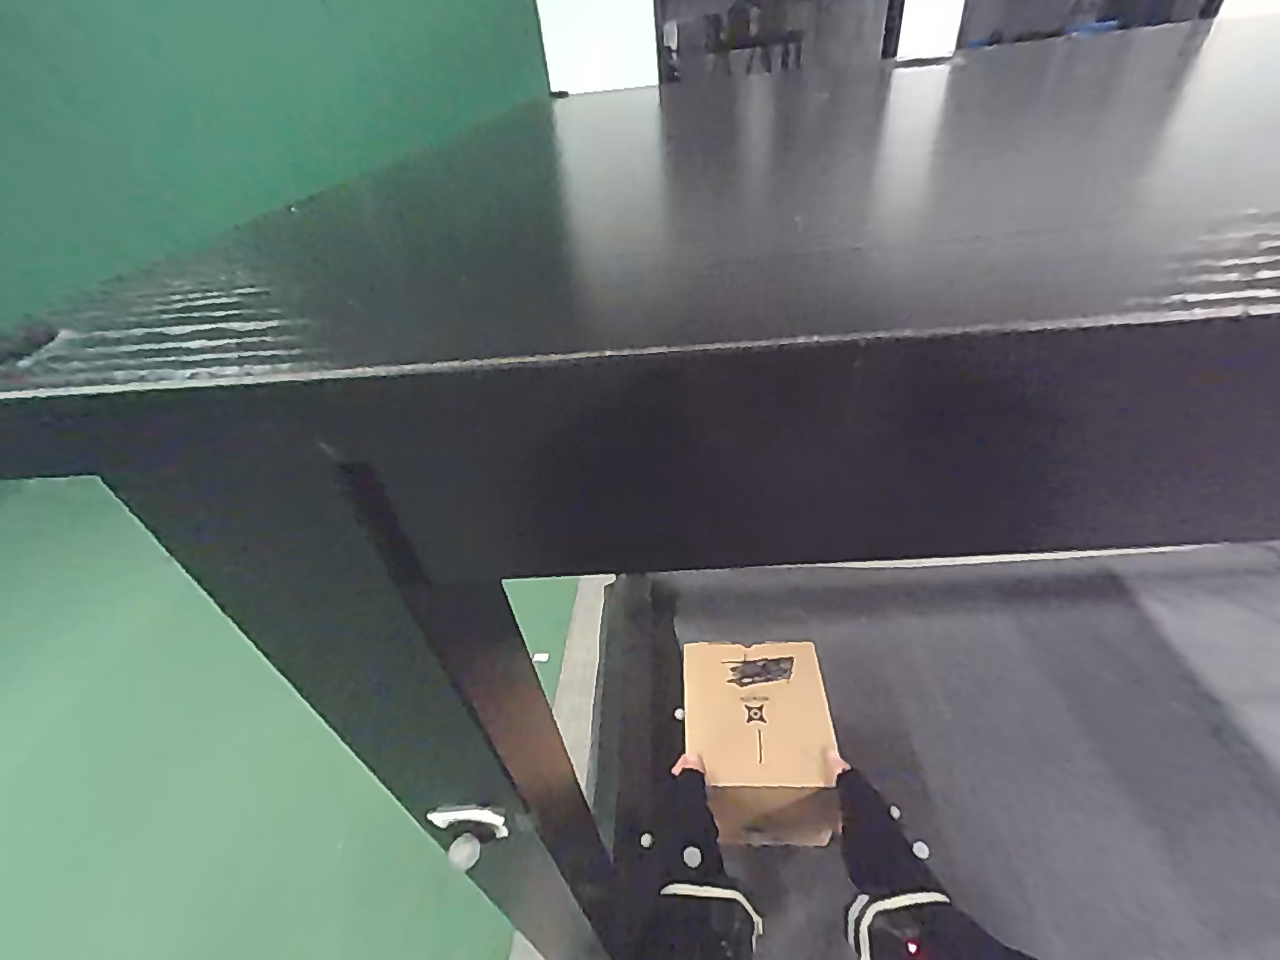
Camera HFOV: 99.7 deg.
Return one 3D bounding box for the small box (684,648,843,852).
[{"bbox_3d":[0.139,0.332,0.675,0.168,0.176,0.179,-3,38,5],"label":"small box"}]
